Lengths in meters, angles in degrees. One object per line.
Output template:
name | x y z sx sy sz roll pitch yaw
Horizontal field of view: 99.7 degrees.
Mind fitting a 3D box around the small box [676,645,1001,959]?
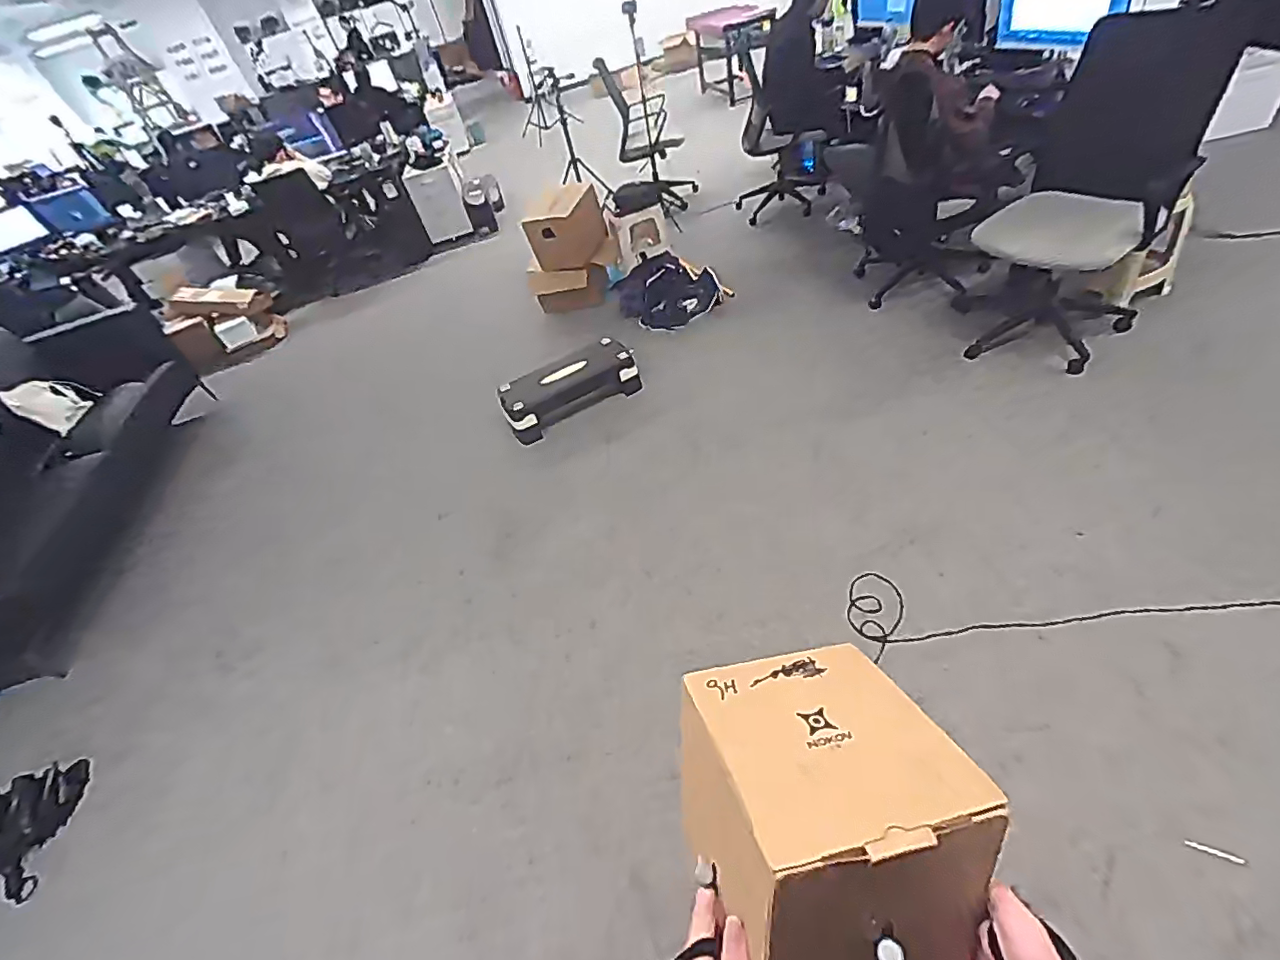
small box | 0.129 0.262 0.423 0.168 0.176 0.179 -5 22 -12
